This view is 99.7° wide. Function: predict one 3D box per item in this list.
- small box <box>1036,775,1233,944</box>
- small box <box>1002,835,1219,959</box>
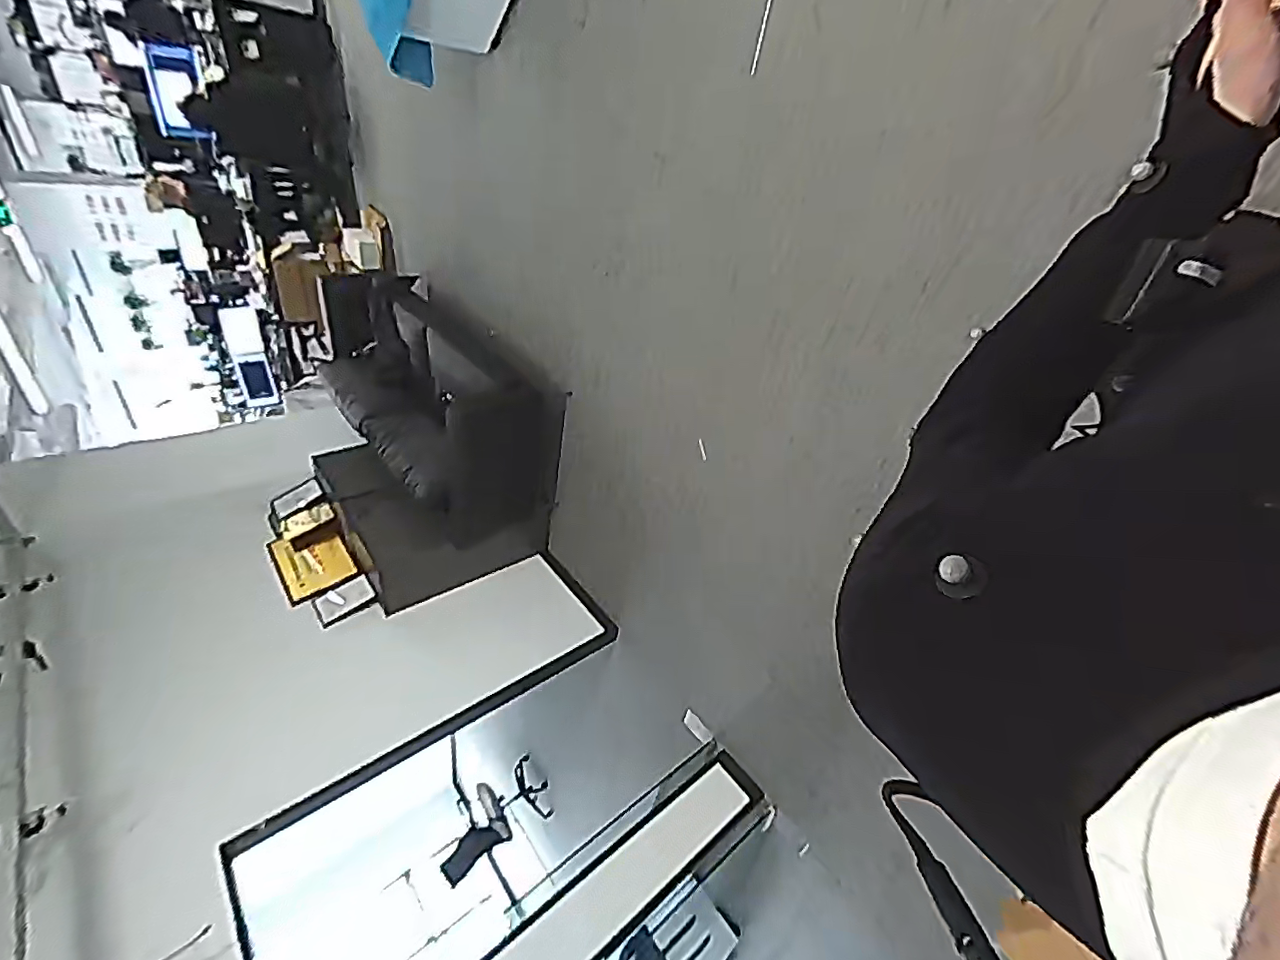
[{"bbox_3d":[0.828,0.639,0.906,0.168,0.176,0.179,46,137,29],"label":"small box"},{"bbox_3d":[0.703,0.682,0.811,0.168,0.176,0.179,45,137,29],"label":"small box"}]
